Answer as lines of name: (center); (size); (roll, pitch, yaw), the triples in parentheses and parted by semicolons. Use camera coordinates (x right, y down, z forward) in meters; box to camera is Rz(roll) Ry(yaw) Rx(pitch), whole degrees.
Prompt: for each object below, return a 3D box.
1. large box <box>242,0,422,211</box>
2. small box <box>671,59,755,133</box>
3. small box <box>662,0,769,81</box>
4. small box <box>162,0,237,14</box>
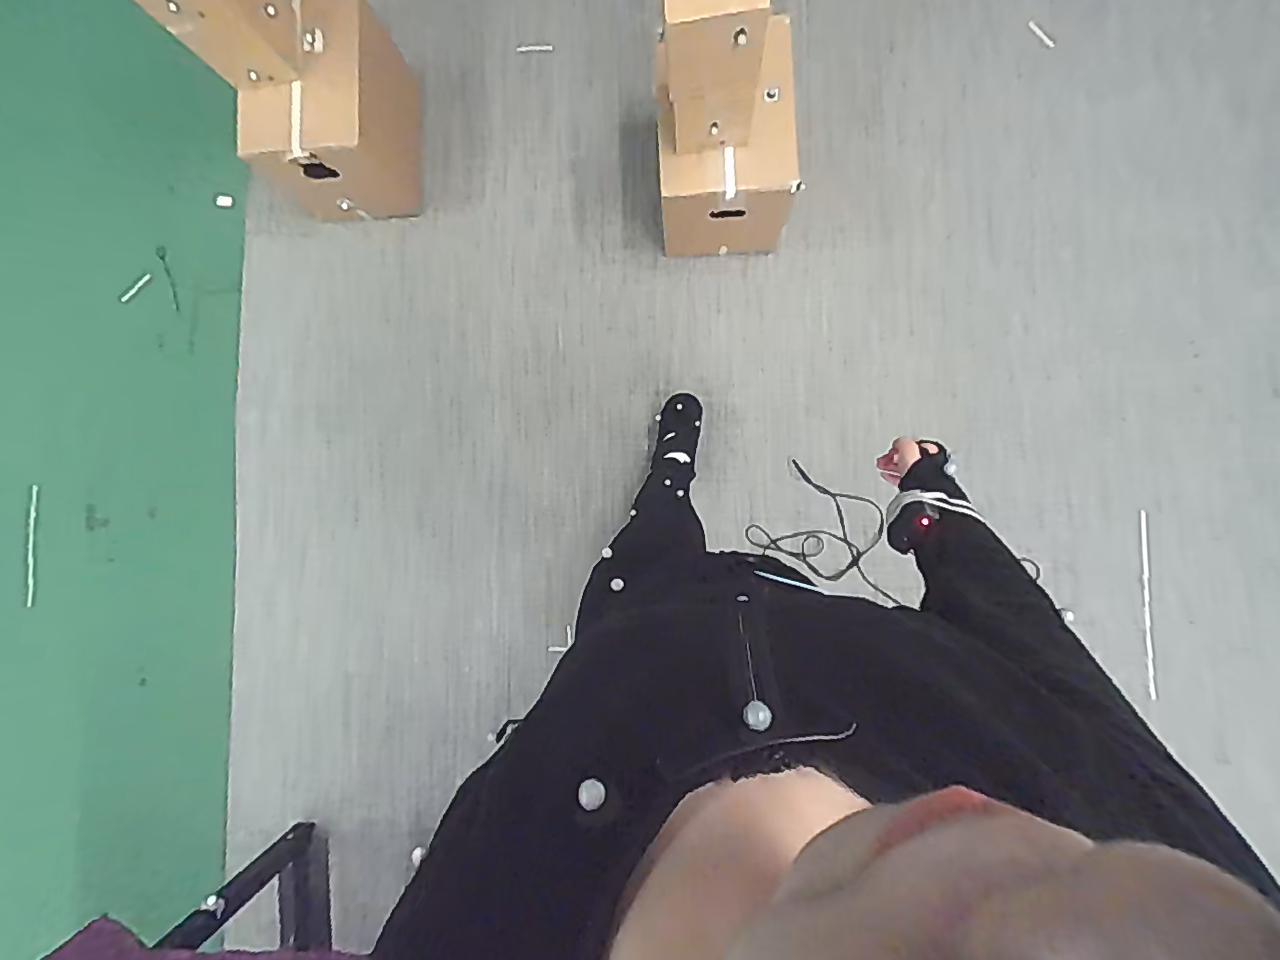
large box: (-0.809, -1.009, 1.458); (0.320, 0.320, 0.408); (-2, 87, 5)
small box: (0.146, -0.863, 1.136); (0.168, 0.176, 0.179); (-5, 88, 6)
small box: (0.128, -0.865, 0.971); (0.179, 0.176, 0.168); (-5, 87, 6)
small box: (-0.930, -1.078, 1.062); (0.168, 0.176, 0.179); (-2, 89, 8)
